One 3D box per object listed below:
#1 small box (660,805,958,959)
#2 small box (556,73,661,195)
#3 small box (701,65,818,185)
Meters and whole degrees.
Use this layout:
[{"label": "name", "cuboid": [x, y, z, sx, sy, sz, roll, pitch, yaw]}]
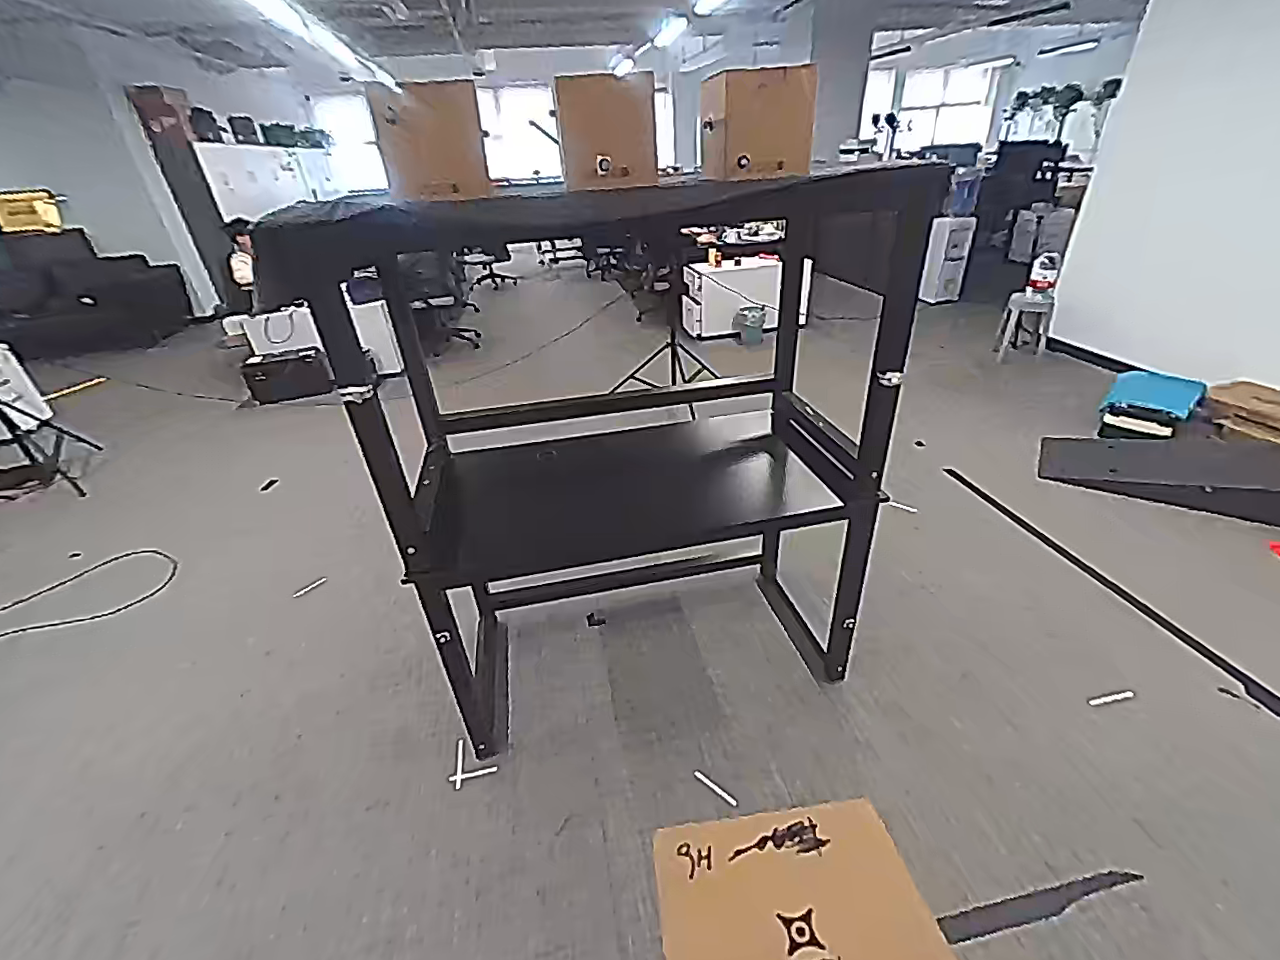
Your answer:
[{"label": "small box", "cuboid": [0.108, 0.354, 0.345, 0.168, 0.176, 0.179, -6, 22, -3]}, {"label": "small box", "cuboid": [-0.059, -0.611, 0.970, 0.168, 0.176, 0.179, -8, 30, -5]}, {"label": "small box", "cuboid": [0.217, -0.658, 1.016, 0.168, 0.176, 0.179, -8, 30, -6]}]
